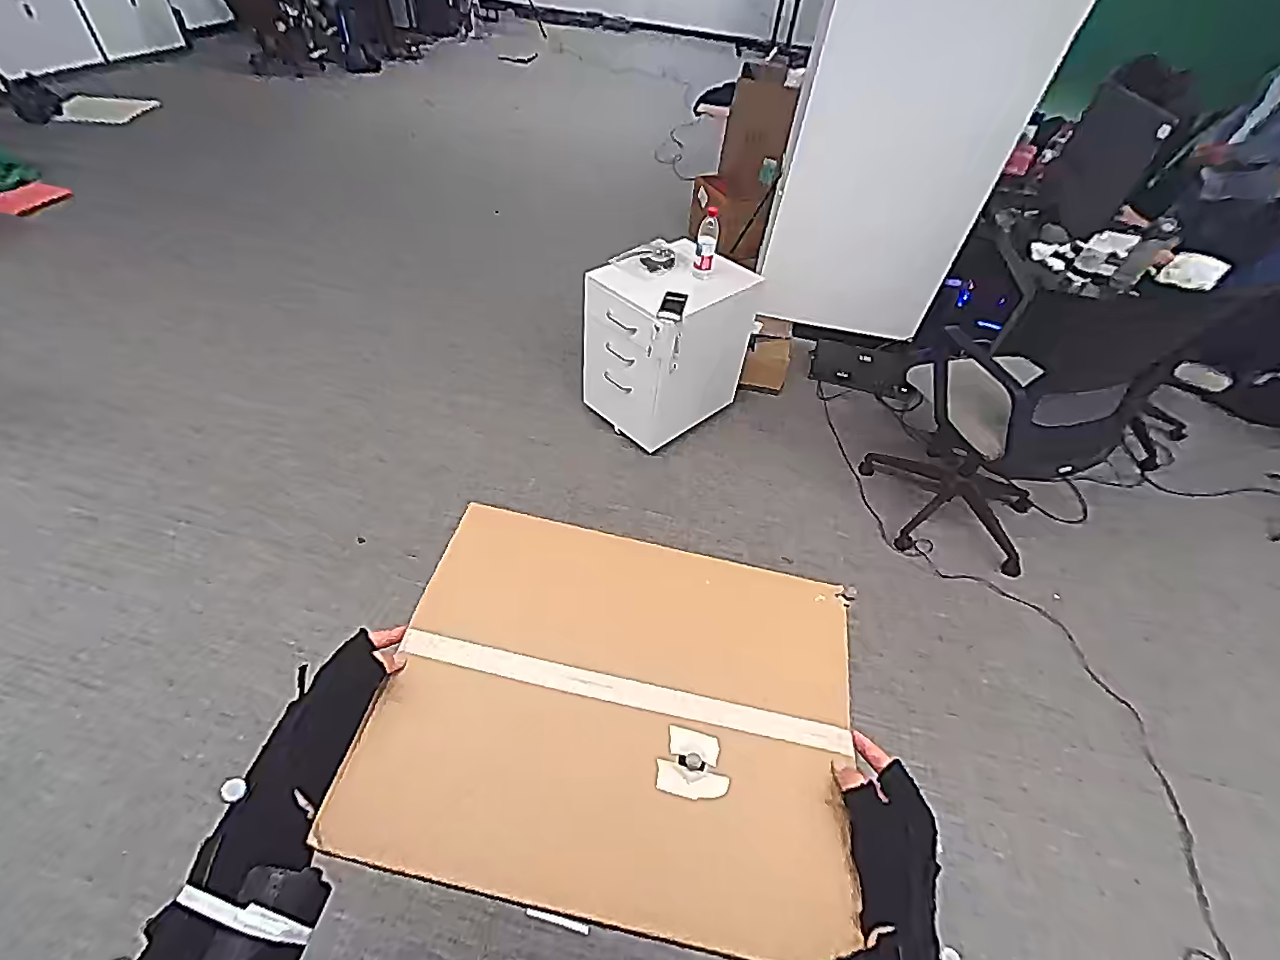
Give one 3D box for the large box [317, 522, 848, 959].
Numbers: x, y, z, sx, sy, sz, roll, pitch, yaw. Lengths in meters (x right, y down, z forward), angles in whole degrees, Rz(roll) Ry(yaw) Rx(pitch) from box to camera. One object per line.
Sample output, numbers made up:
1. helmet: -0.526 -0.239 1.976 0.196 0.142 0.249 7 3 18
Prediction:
1. large box: -0.037 0.292 0.597 0.408 0.320 0.320 13 52 1
